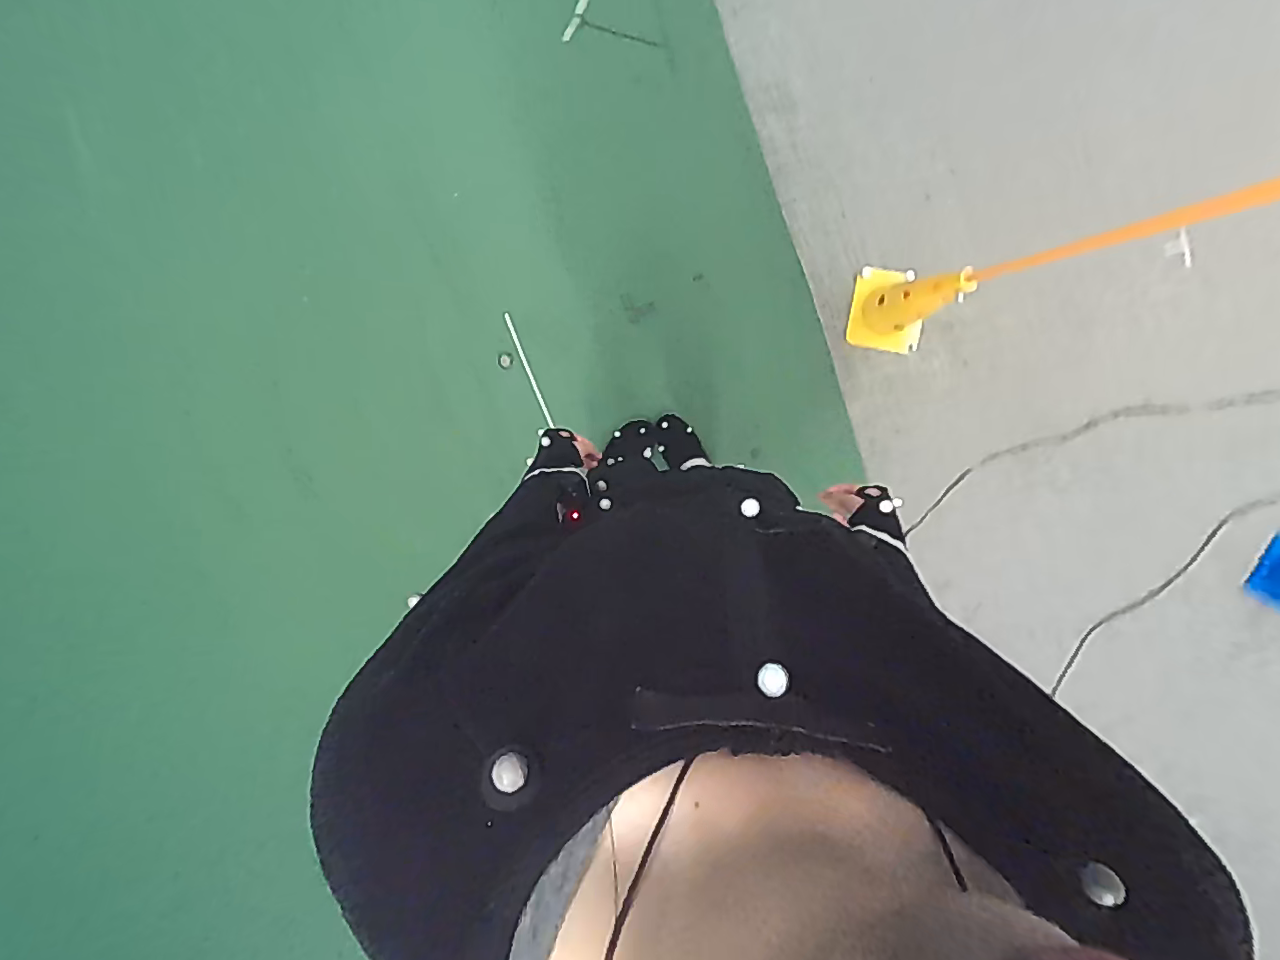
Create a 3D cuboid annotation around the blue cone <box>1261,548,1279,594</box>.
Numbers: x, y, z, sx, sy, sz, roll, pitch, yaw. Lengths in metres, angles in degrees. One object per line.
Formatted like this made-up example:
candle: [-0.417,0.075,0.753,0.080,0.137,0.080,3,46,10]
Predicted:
blue cone: [1.914,0.277,1.395,0.193,0.380,0.192,23,95,-7]
